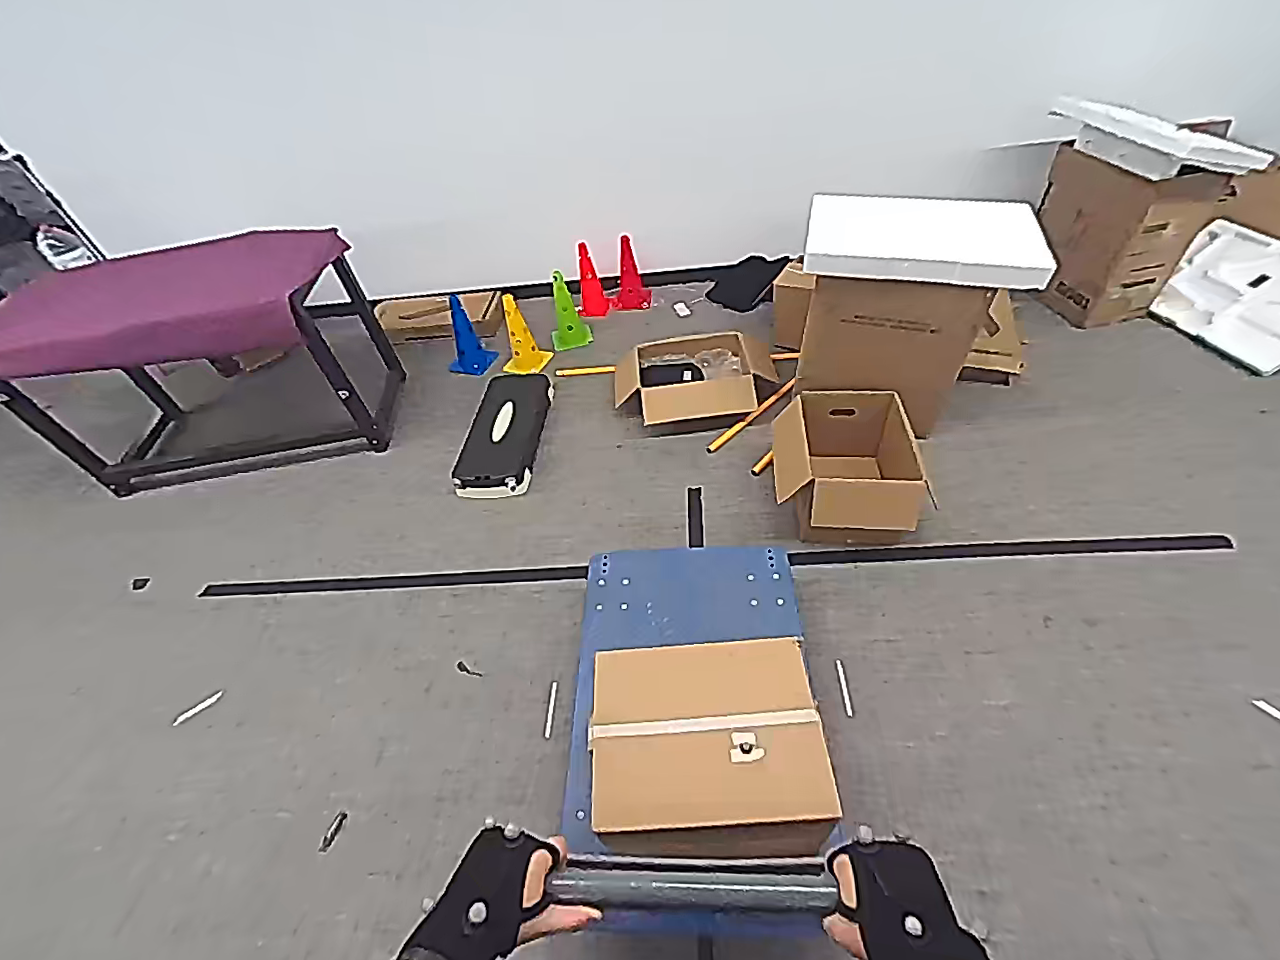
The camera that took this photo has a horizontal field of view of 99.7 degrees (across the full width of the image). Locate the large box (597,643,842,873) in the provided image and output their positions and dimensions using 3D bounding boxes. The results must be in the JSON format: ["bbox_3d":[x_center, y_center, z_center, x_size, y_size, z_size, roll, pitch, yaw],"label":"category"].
[{"bbox_3d":[0.131,0.555,1.076,0.408,0.320,0.320,-5,46,2],"label":"large box"}]
